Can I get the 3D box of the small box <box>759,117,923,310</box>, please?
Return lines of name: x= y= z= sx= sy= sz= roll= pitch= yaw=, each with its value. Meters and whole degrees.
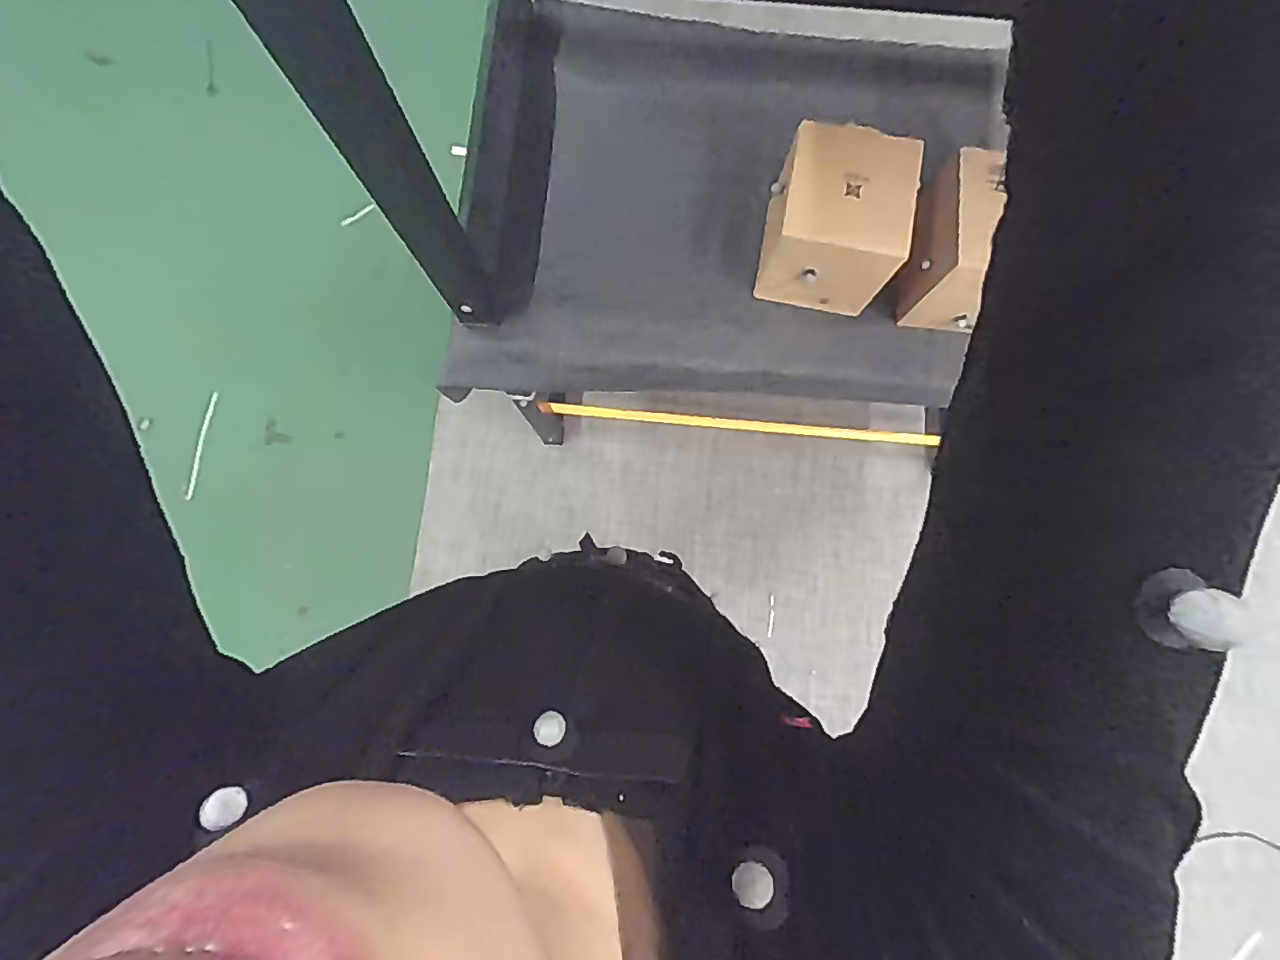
small box: x=0.277 y=-0.371 z=0.779 sx=0.168 sy=0.176 sz=0.179 roll=11 pitch=80 yaw=1
